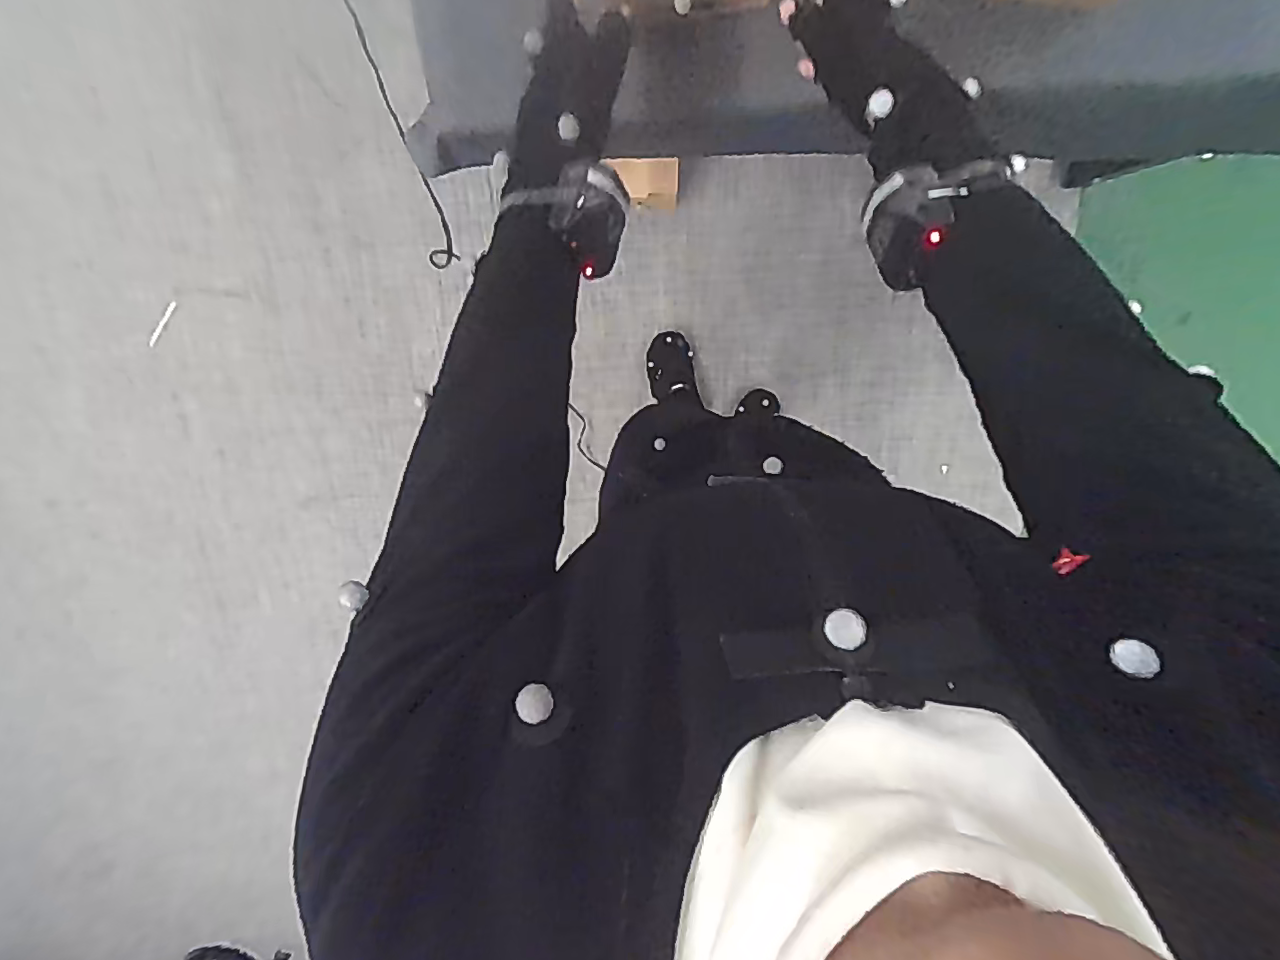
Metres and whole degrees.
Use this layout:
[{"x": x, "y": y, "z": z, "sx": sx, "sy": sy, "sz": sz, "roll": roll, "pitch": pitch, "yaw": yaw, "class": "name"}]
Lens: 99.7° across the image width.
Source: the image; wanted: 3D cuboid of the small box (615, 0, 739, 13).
[{"x": 0.039, "y": -0.533, "z": 0.436, "sx": 0.168, "sy": 0.176, "sz": 0.179, "roll": -5, "pitch": 107, "yaw": 3, "class": "small box"}]
